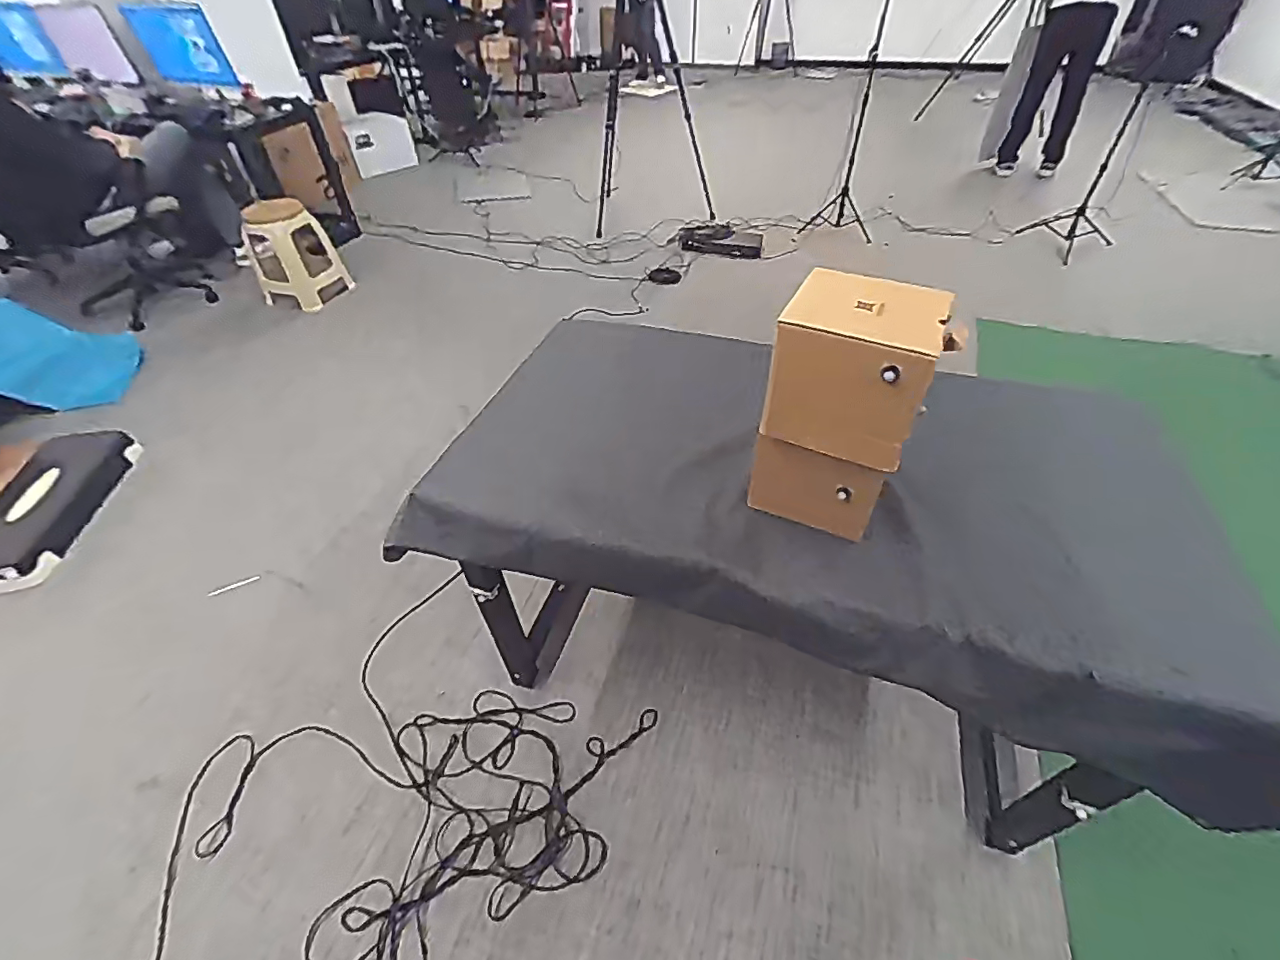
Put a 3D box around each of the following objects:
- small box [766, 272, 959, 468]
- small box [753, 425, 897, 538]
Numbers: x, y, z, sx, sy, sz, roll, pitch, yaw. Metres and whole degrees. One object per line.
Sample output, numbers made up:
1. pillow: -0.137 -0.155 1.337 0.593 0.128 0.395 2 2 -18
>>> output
1. small box: 0.274 -0.140 0.688 0.179 0.176 0.168 20 48 20
2. small box: 0.284 -0.037 0.815 0.179 0.176 0.168 18 47 20
